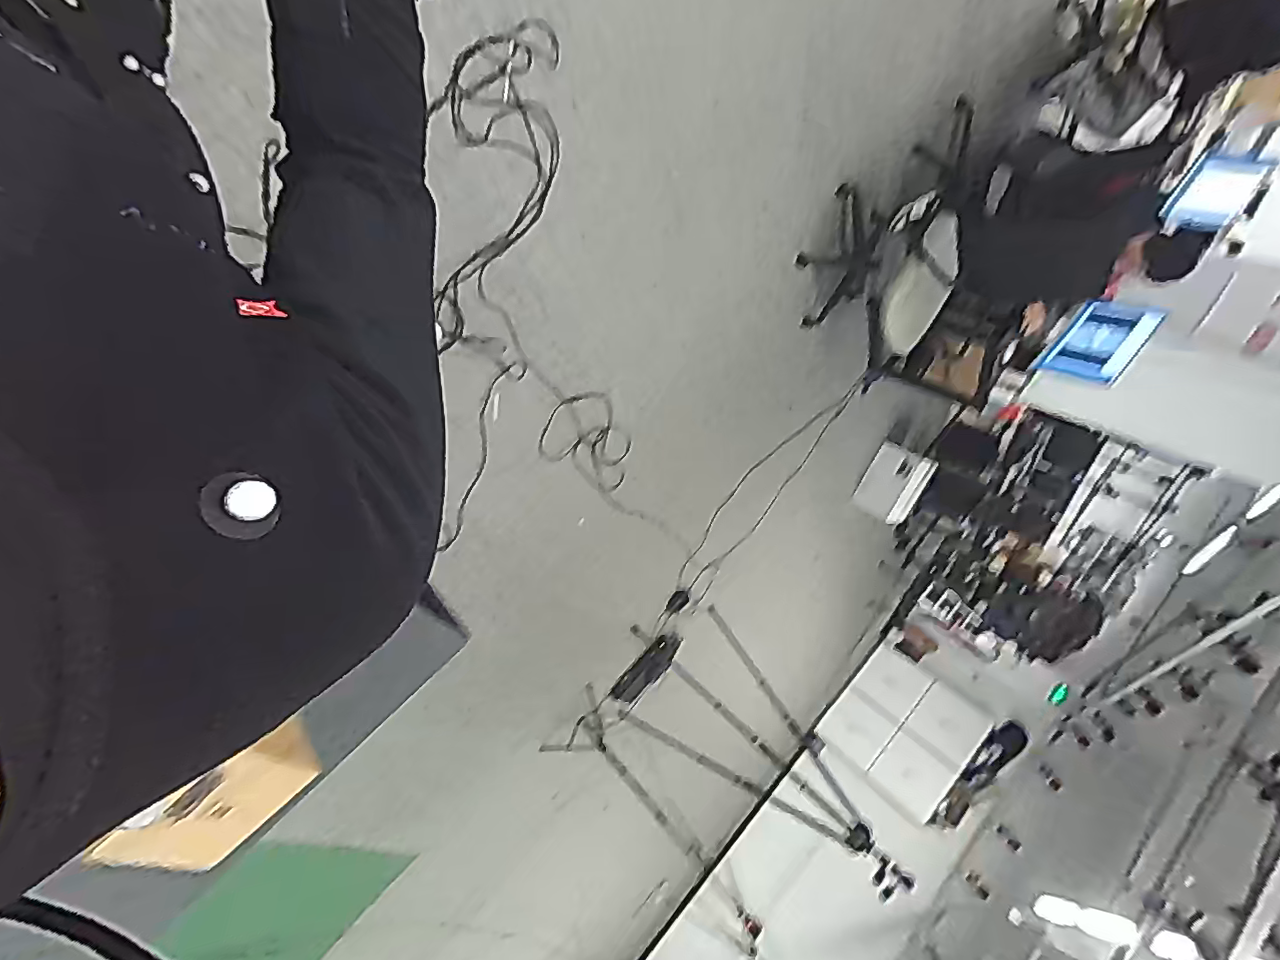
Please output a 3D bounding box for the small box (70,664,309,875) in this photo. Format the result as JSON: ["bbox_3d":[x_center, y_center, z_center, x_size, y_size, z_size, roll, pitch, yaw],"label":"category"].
[{"bbox_3d":[-0.596,0.377,0.721,0.168,0.176,0.179,-41,143,-18],"label":"small box"}]
